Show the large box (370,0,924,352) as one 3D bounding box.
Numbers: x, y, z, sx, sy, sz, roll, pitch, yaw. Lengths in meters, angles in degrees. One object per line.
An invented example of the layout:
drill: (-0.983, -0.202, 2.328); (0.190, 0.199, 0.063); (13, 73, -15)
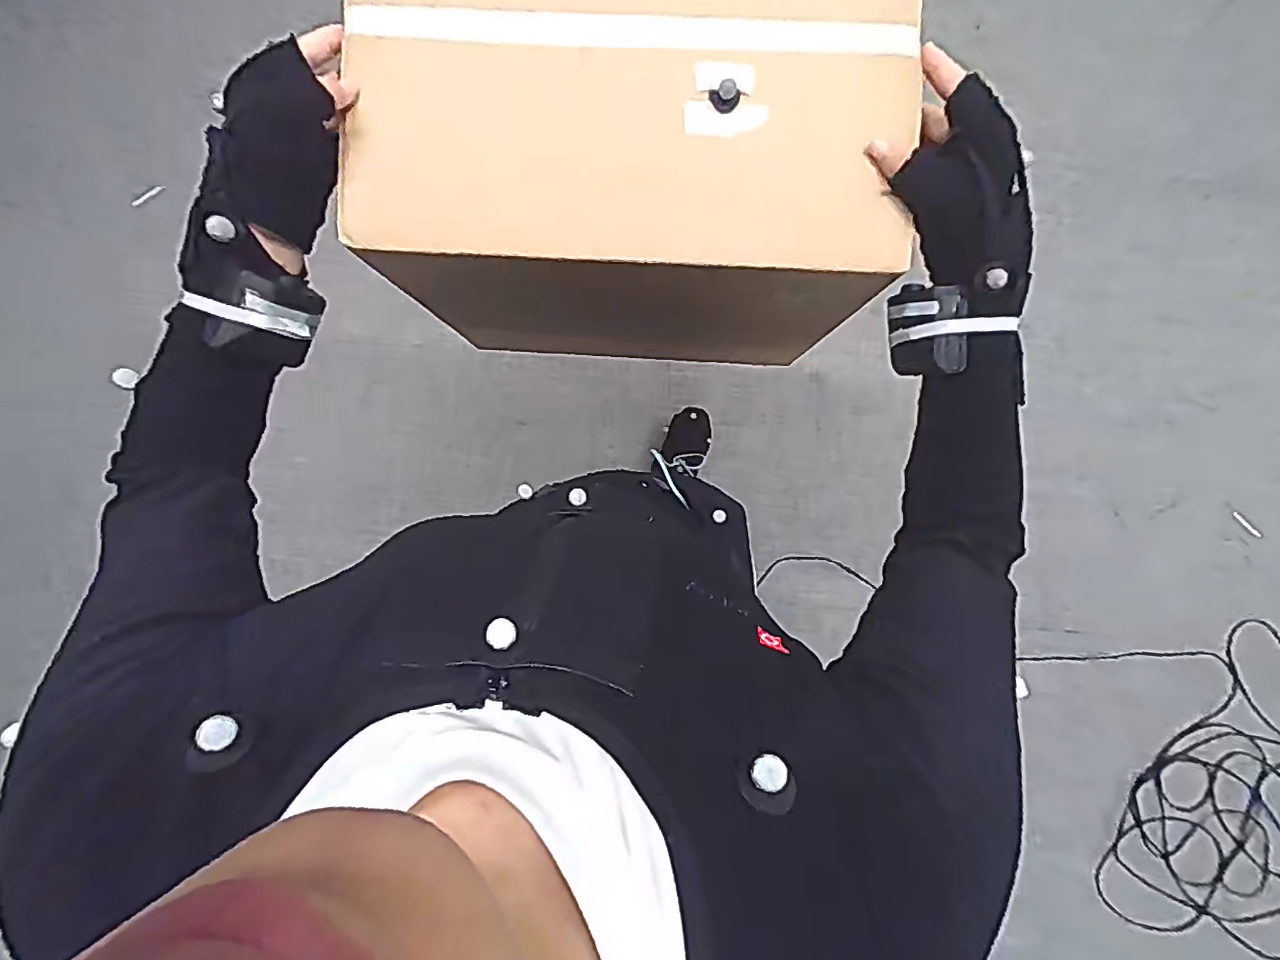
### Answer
large box: (0.004, -0.320, 0.541); (0.408, 0.320, 0.320); (3, 91, -1)
